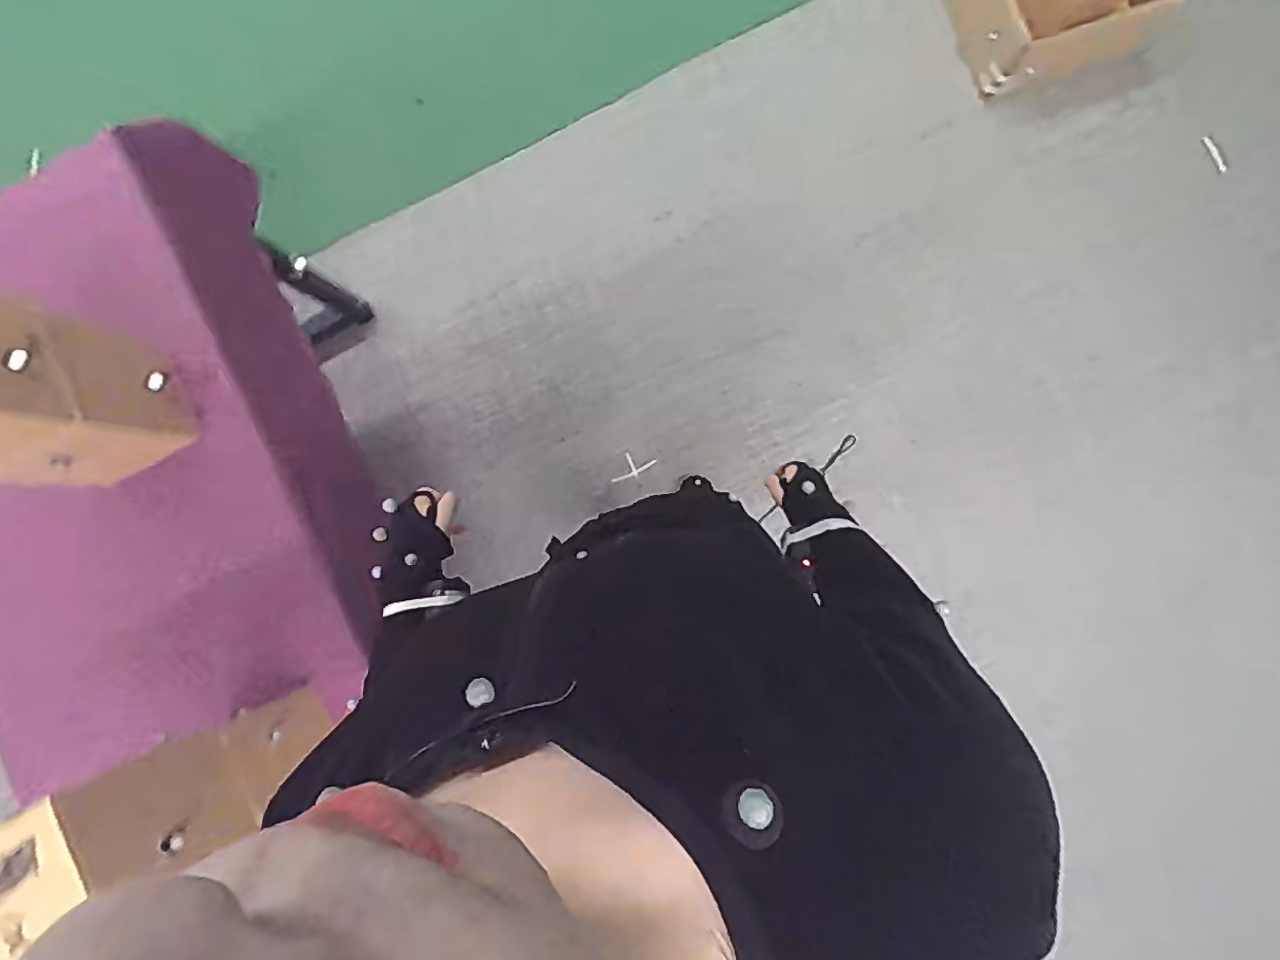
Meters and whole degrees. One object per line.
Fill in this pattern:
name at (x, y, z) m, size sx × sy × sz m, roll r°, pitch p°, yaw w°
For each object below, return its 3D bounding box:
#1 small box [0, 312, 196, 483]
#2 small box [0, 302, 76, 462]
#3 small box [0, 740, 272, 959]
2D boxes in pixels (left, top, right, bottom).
small box at (-0.794, -0.101, 0.761) m, size 0.179 × 0.176 × 0.168 m, roll -25°, pitch 87°, yaw 3°
small box at (-0.808, -0.108, 0.598) m, size 0.179 × 0.176 × 0.168 m, roll -25°, pitch 87°, yaw 3°
small box at (-0.541, 0.402, 0.562) m, size 0.168 × 0.176 × 0.179 m, roll -30°, pitch 86°, yaw 3°
